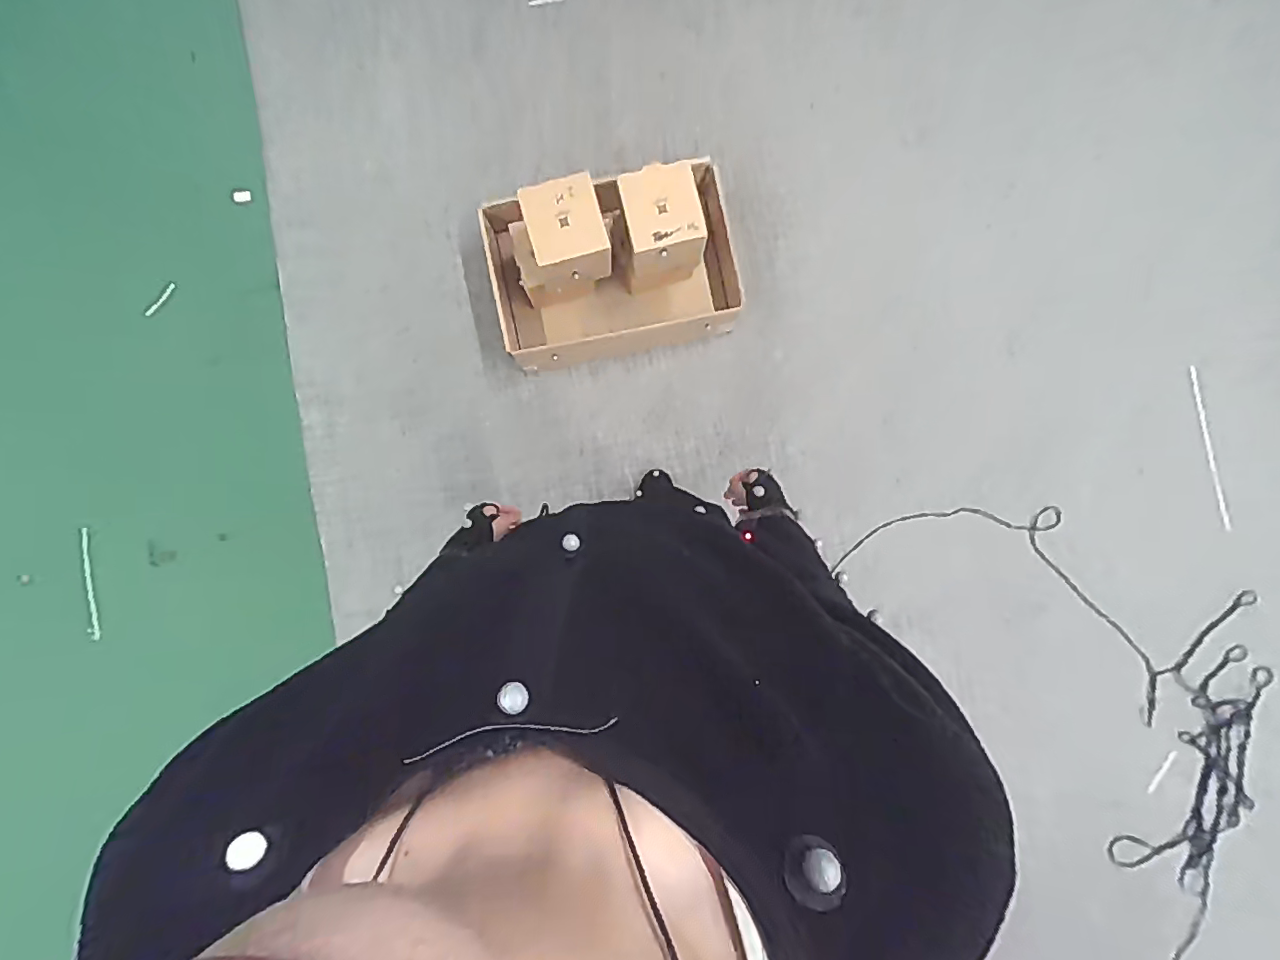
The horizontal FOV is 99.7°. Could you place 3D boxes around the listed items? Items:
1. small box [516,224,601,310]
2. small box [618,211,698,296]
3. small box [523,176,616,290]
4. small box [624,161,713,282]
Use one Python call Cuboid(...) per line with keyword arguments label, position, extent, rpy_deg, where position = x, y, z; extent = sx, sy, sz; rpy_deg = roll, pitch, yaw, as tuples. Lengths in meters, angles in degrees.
Cuboid(label="small box", position=(-0.207, -0.563, 1.416), extent=(0.179, 0.176, 0.168), rpy_deg=(-14, 90, -2))
Cuboid(label="small box", position=(0.053, -0.606, 1.414), extent=(0.179, 0.176, 0.168), rpy_deg=(-18, 89, 1))
Cuboid(label="small box", position=(-0.155, -0.558, 1.253), extent=(0.168, 0.176, 0.179), rpy_deg=(-16, 90, -2))
Cuboid(label="small box", position=(0.063, -0.588, 1.250), extent=(0.168, 0.176, 0.179), rpy_deg=(-14, 88, 2))
